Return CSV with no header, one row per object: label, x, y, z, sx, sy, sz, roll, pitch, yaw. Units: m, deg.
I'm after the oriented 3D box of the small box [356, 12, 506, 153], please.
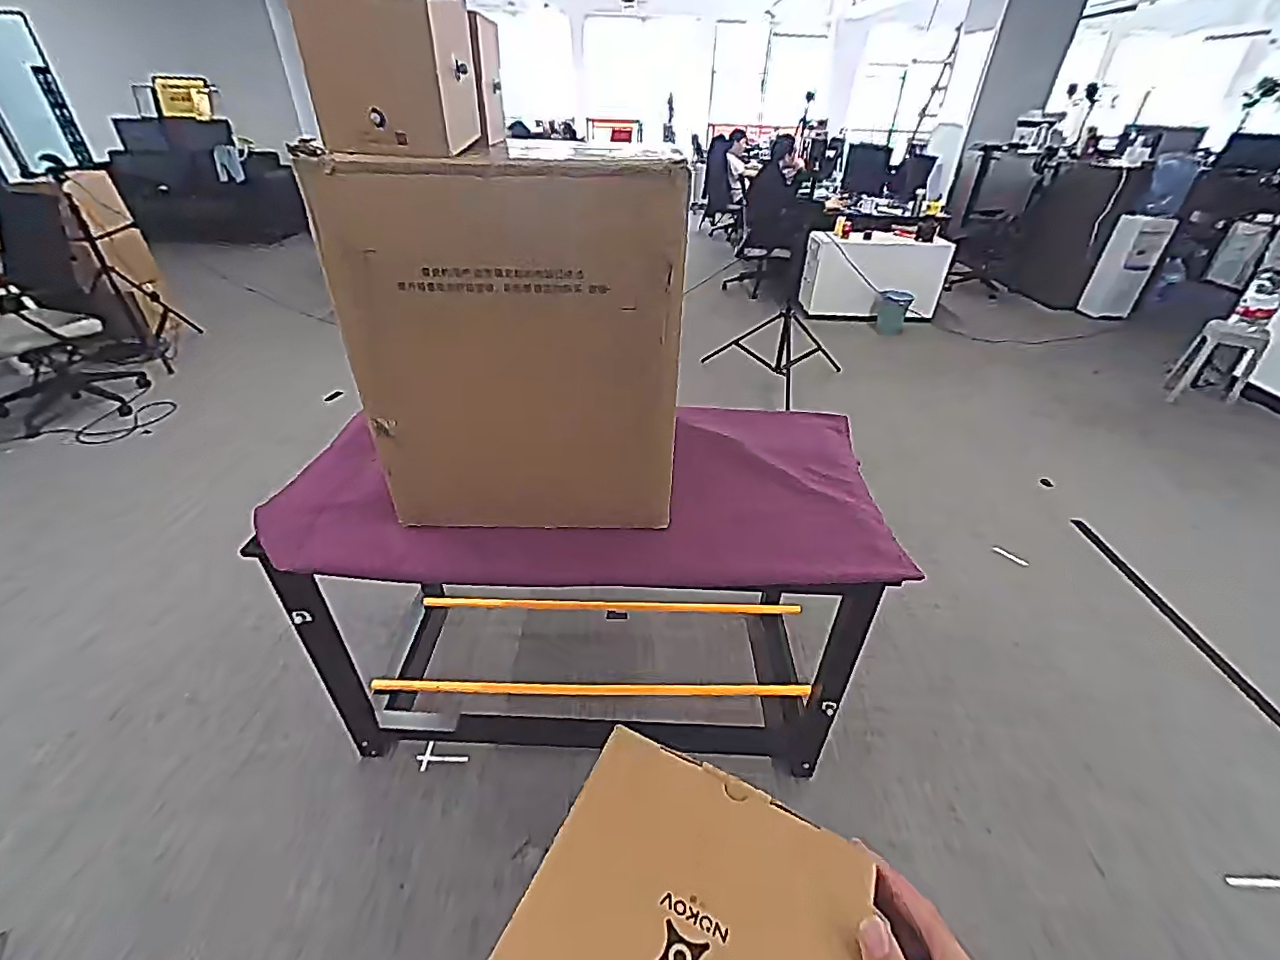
small box,-0.324,-0.639,0.882,0.179,0.176,0.168,1,34,-2
